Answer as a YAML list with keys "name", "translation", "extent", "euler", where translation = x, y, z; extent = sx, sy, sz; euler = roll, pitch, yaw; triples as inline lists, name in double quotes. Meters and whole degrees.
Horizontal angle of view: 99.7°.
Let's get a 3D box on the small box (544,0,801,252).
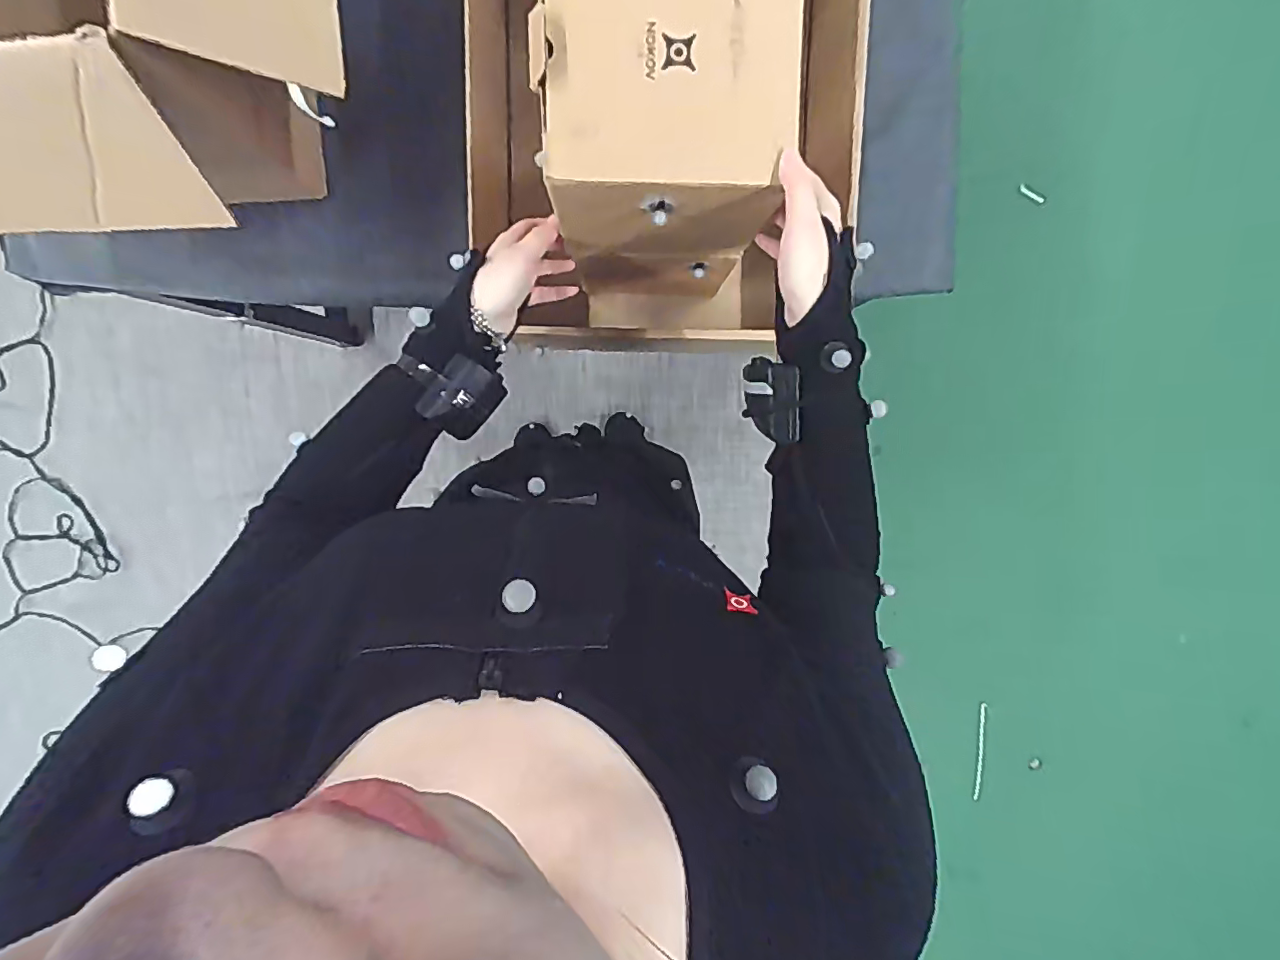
- name: "small box"
  translation: [0.018, -0.297, 0.448]
  extent: [0.179, 0.176, 0.168]
  euler: [0, 99, -4]
